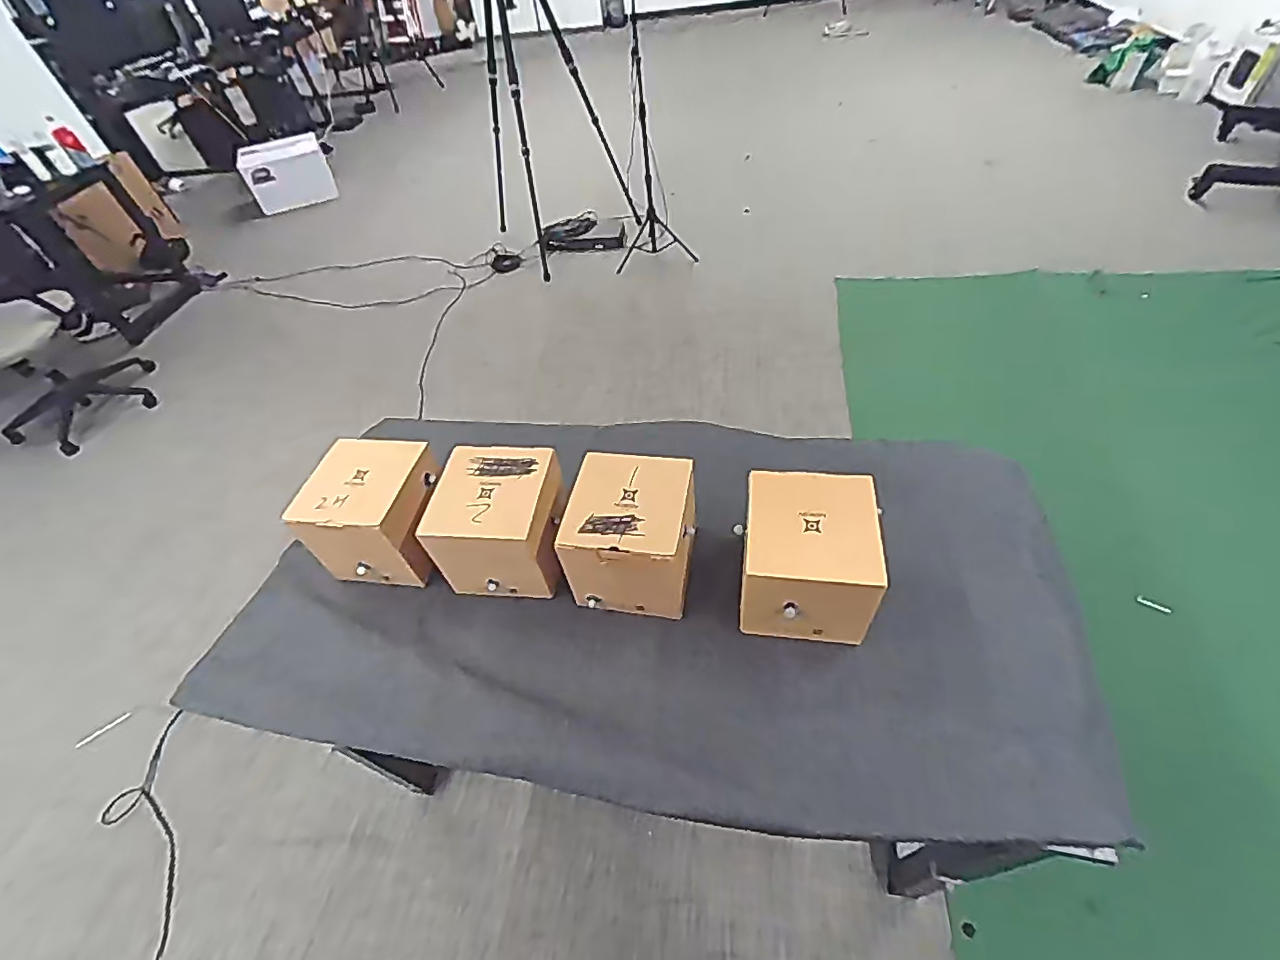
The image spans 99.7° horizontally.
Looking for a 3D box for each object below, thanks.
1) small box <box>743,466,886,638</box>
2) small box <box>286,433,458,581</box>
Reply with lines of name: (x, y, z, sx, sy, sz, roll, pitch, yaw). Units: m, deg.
small box: (0.232, 0.102, 0.756, 0.168, 0.176, 0.179, 3, 50, 11)
small box: (-0.424, 0.044, 0.896, 0.168, 0.176, 0.179, 3, 50, 10)
